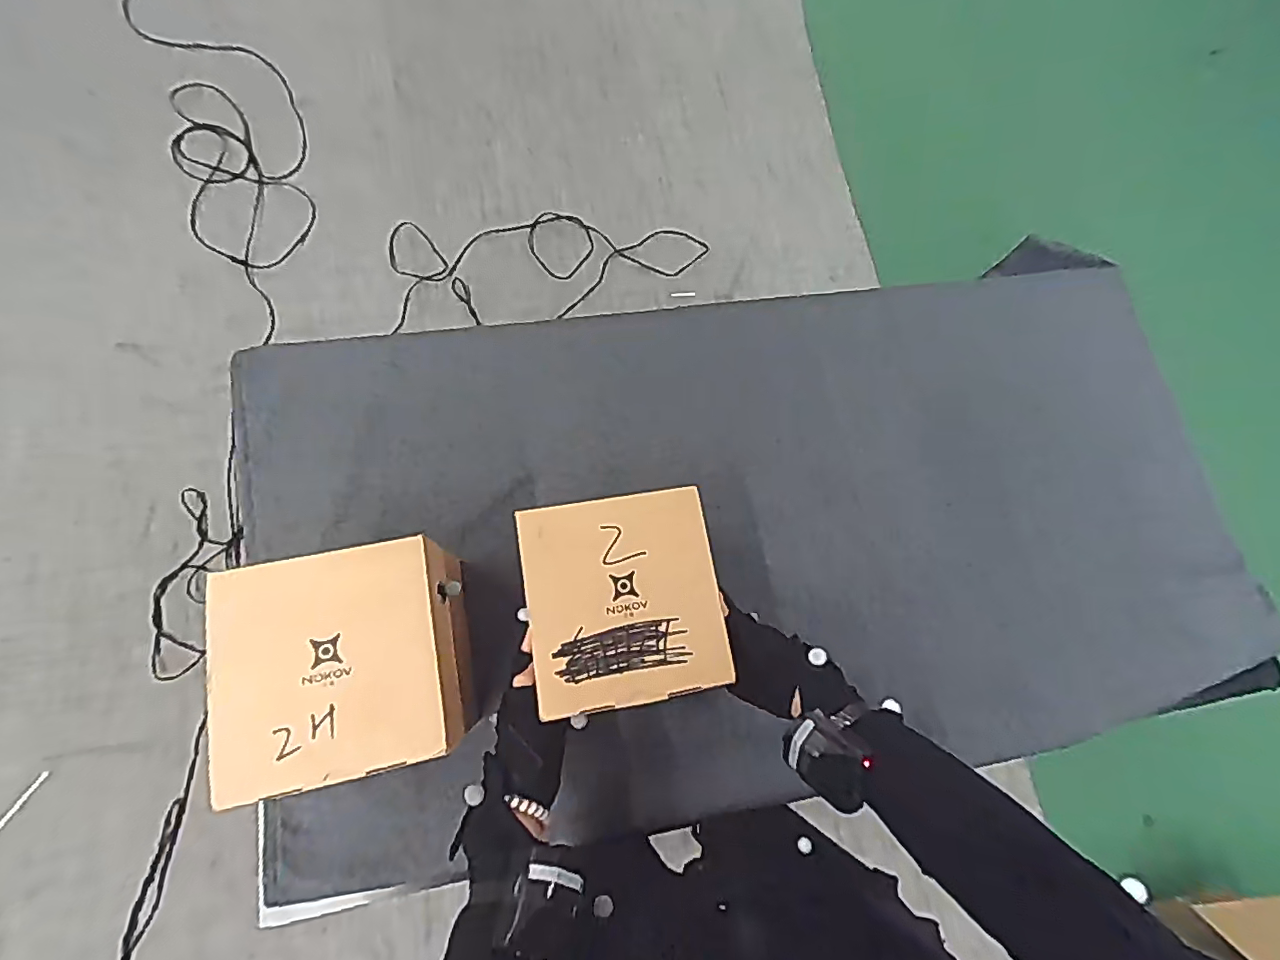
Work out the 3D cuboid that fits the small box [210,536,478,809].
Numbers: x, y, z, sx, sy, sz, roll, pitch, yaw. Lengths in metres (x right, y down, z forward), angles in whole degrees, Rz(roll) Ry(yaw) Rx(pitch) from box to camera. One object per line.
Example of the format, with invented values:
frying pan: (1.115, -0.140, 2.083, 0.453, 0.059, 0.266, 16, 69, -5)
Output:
small box: (-0.251, 0.163, 0.494, 0.168, 0.176, 0.179, -9, 76, -10)
